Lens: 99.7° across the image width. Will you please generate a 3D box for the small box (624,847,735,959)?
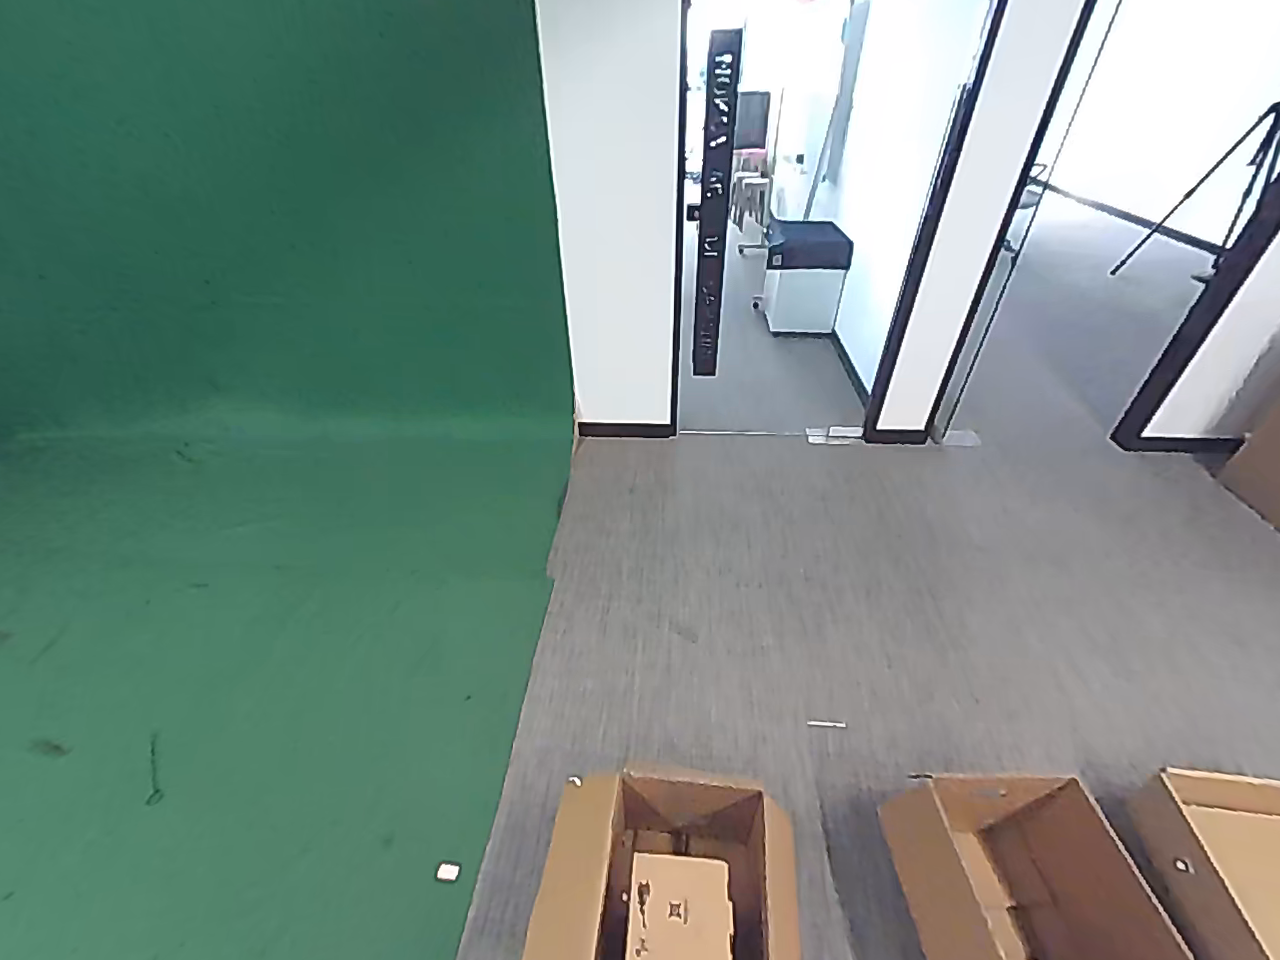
[{"bbox_3d":[0.068,0.798,0.976,0.179,0.176,0.168,6,37,2],"label":"small box"}]
